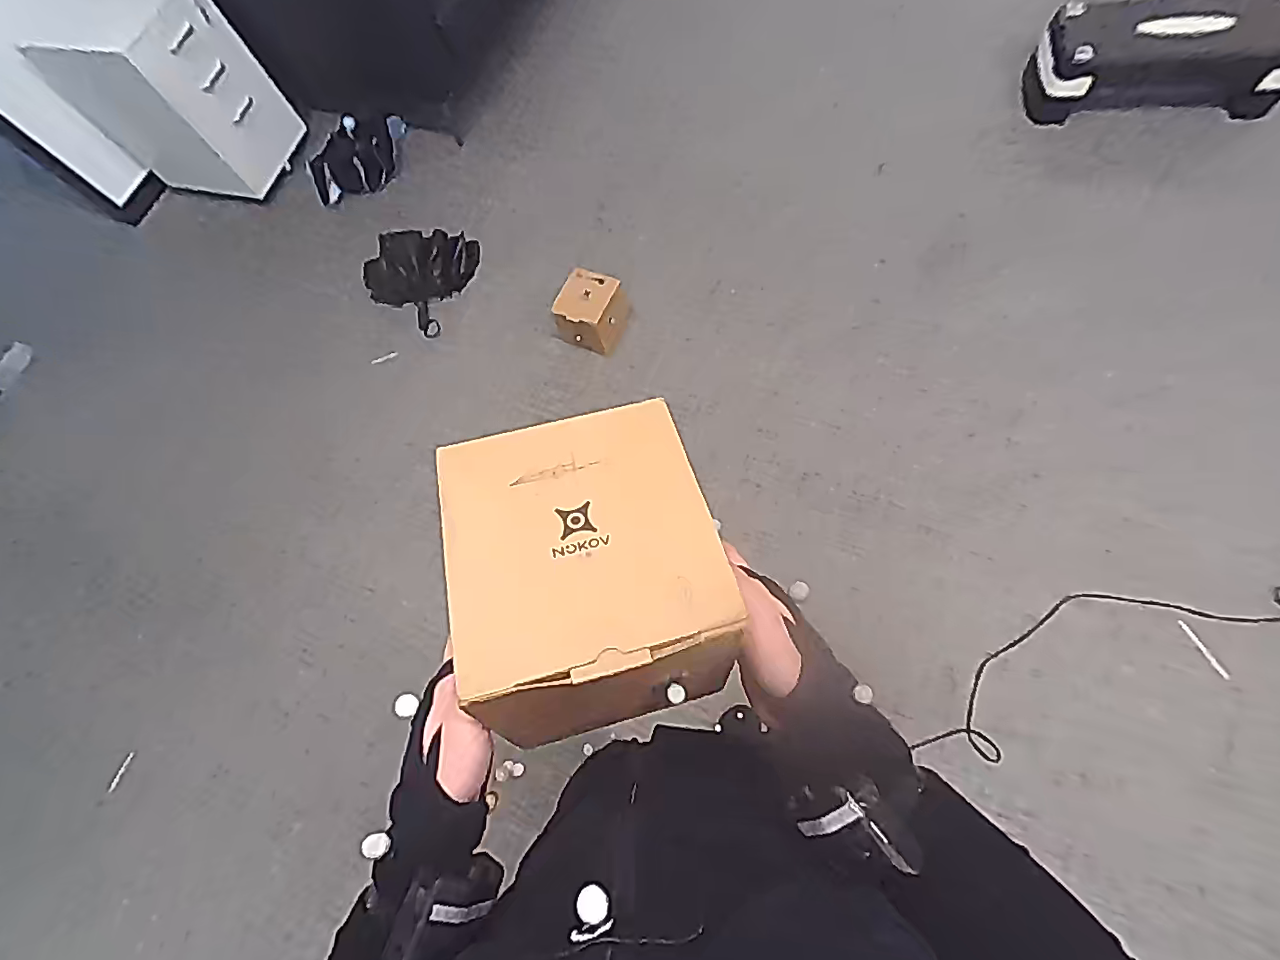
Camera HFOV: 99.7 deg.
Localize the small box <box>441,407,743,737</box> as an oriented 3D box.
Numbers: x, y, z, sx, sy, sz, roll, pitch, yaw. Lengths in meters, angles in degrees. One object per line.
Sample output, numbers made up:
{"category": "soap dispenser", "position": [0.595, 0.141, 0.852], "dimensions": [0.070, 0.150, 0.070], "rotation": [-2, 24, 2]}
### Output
{"category": "small box", "position": [-0.036, 0.078, 0.408], "dimensions": [0.168, 0.176, 0.179], "rotation": [-14, 56, -8]}
